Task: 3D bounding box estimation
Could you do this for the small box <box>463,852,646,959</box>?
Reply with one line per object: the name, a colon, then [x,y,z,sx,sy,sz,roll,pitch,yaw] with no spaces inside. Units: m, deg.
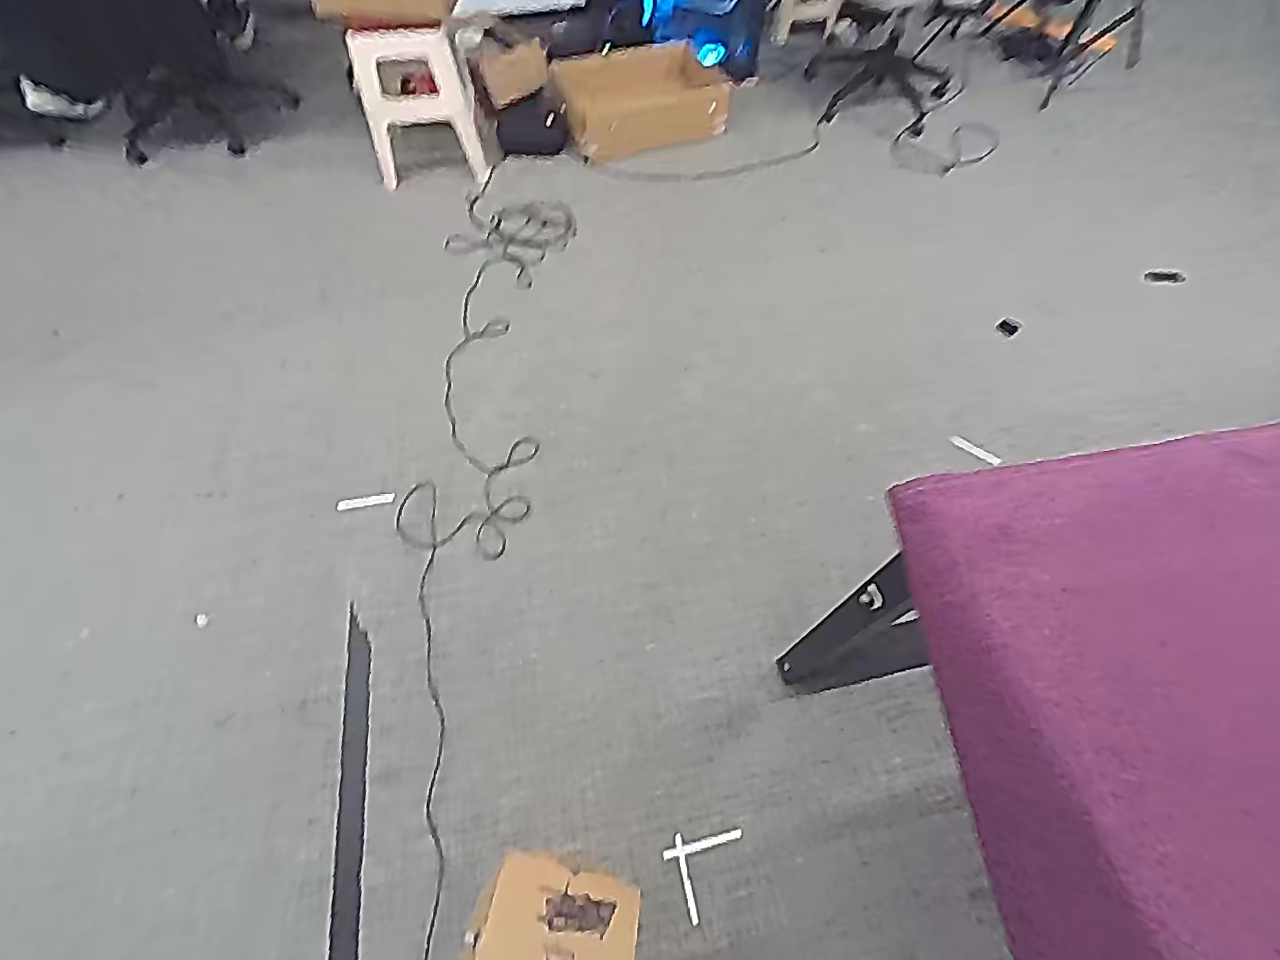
small box: [-0.107,0.547,0.577,0.168,0.176,0.179,21,34,-6]
